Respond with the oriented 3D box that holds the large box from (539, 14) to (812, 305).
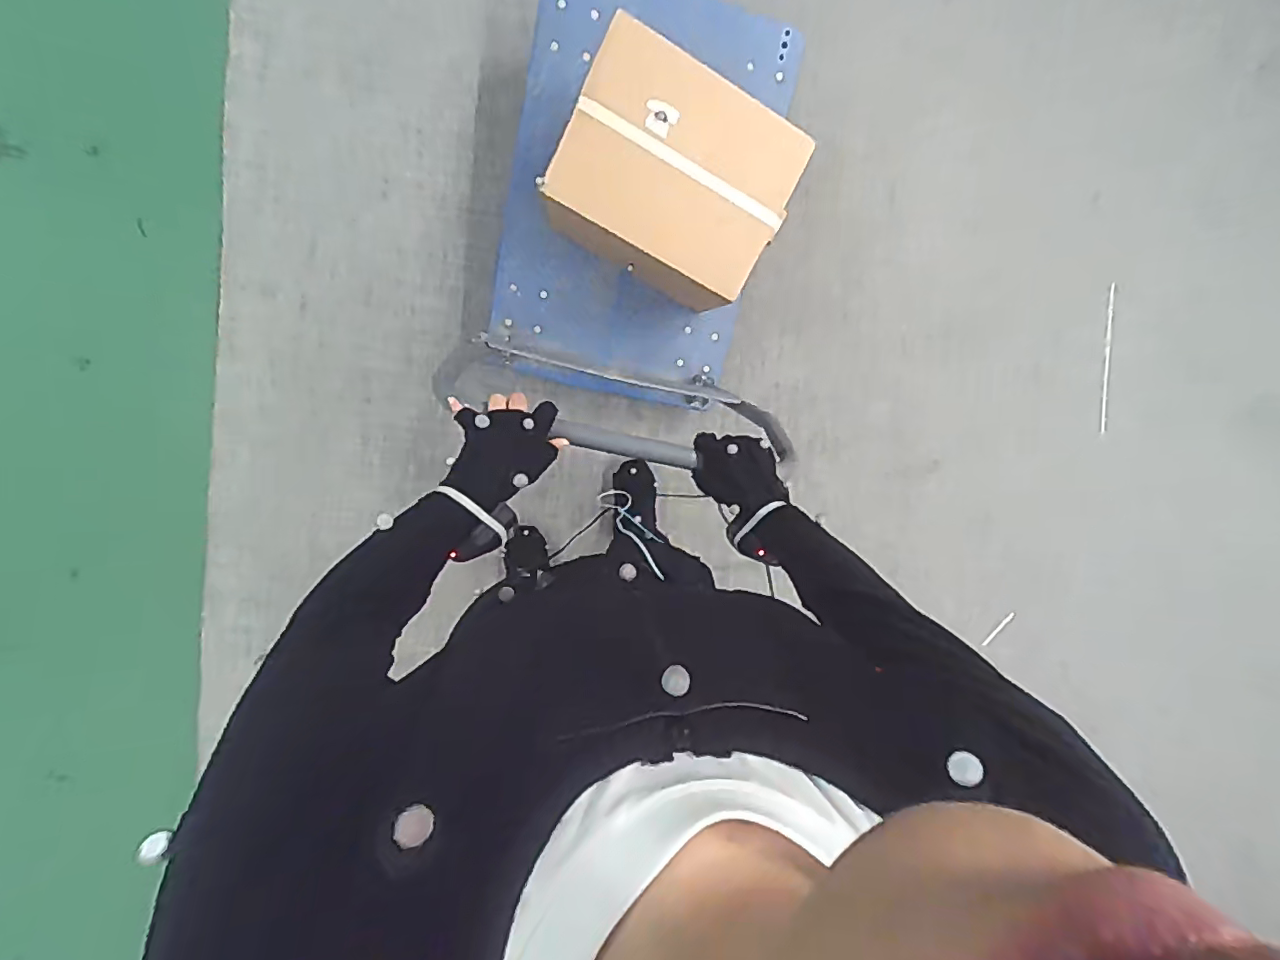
[{"bbox_3d":[0.054,-0.593,1.097,0.408,0.320,0.320,27,100,-11],"label":"large box"}]
